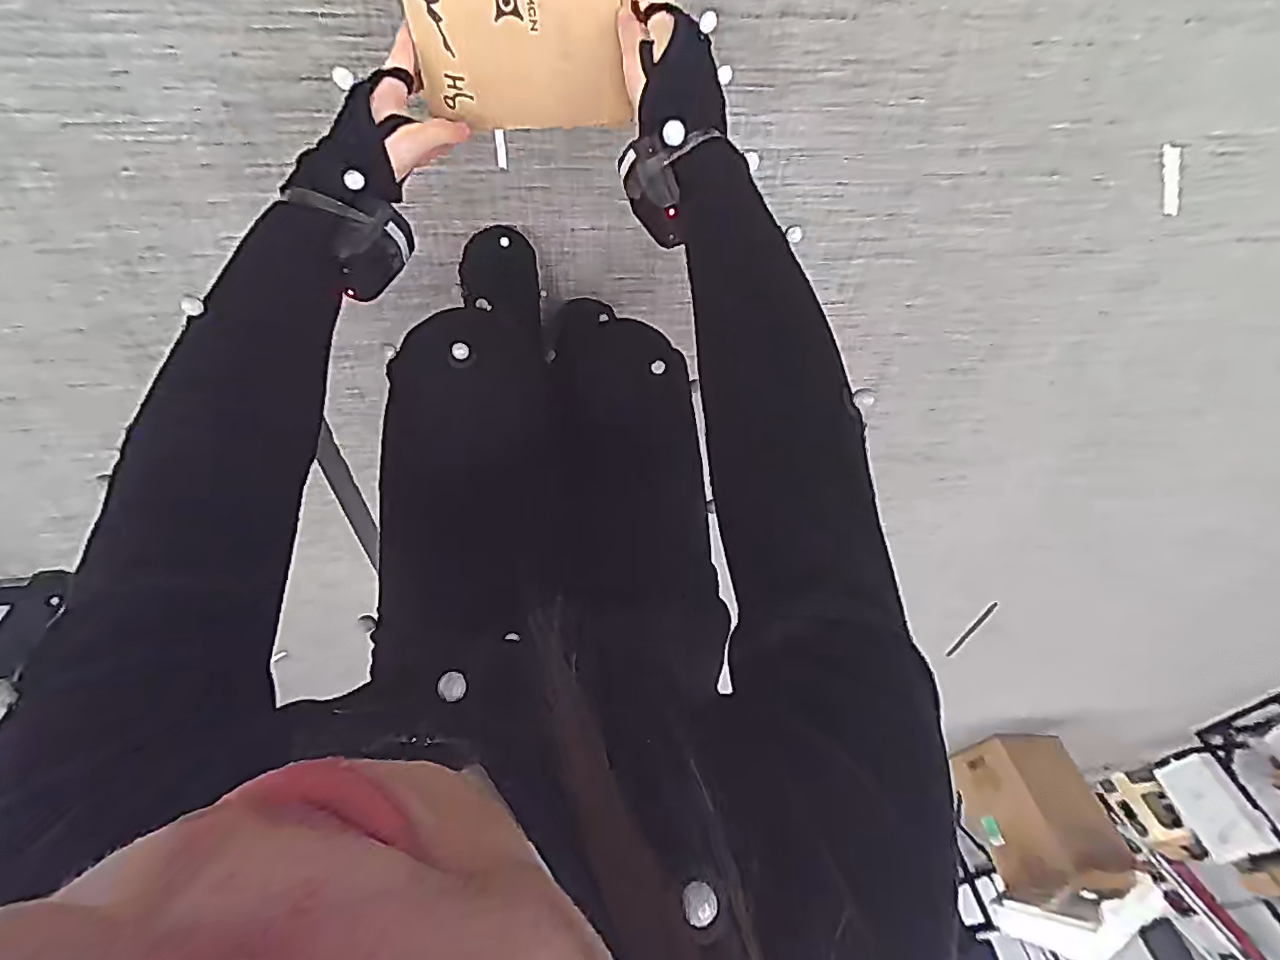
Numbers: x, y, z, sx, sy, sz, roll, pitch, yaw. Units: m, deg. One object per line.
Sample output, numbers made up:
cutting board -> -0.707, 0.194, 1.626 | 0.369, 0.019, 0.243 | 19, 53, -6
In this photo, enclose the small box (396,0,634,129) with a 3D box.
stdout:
small box -> -0.100, -0.415, 0.455 | 0.179, 0.176, 0.168 | -4, 136, -3
